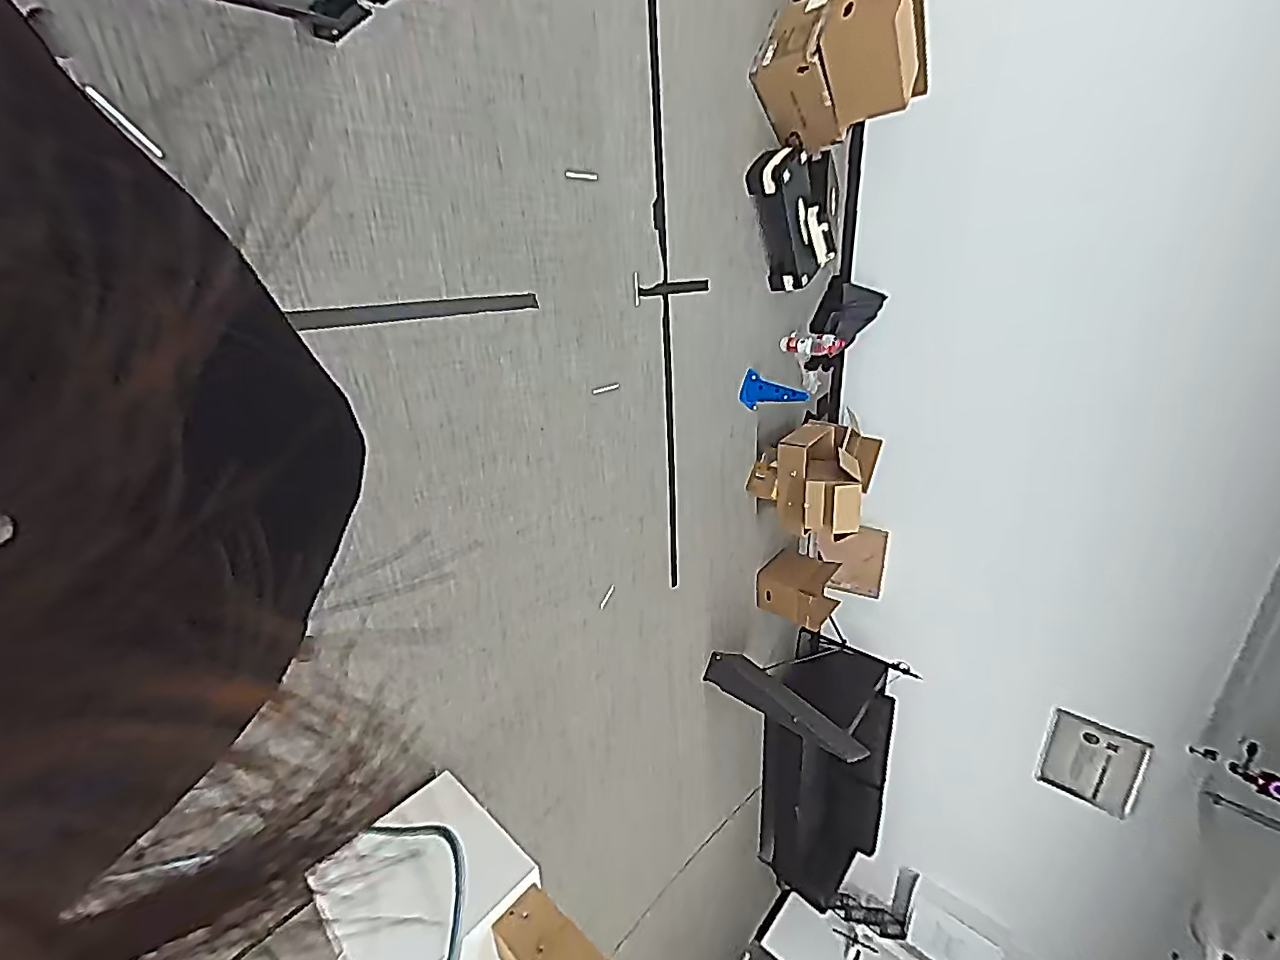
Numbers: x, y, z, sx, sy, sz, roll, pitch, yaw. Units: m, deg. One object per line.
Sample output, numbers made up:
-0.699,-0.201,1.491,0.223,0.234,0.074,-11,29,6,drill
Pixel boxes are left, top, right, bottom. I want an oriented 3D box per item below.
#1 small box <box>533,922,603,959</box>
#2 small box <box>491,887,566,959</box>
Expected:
-0.214,1.445,1.553,0.179,0.176,0.168,-24,122,-43,small box
-0.336,1.412,1.658,0.168,0.176,0.179,-24,121,-42,small box
